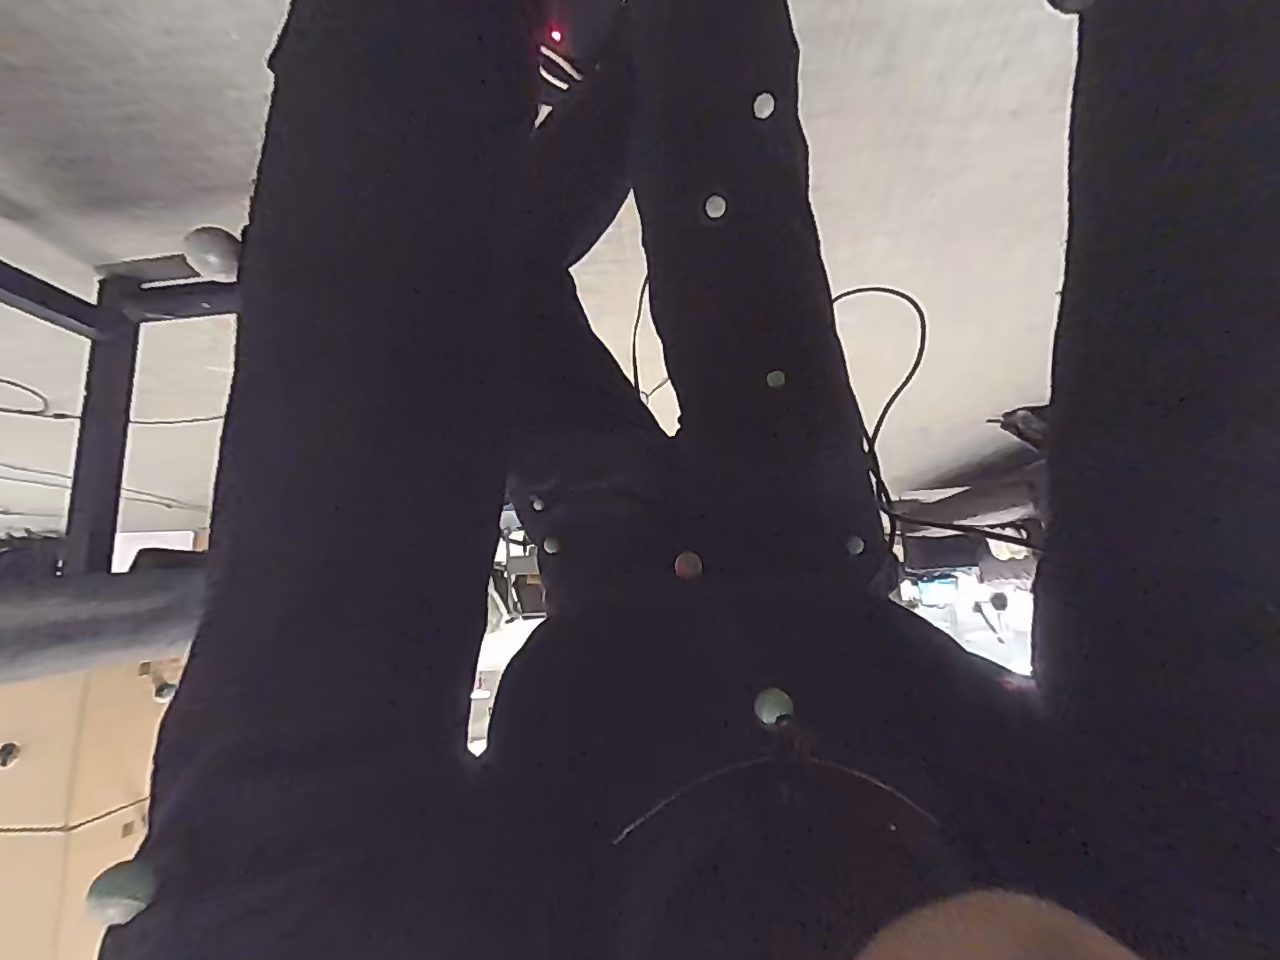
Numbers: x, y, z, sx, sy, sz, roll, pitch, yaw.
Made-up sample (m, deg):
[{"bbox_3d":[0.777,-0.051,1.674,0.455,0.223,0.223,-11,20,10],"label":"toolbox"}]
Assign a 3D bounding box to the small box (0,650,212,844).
[{"bbox_3d":[-0.645,0.295,0.631,0.179,0.176,0.168,-5,169,5],"label":"small box"}]
